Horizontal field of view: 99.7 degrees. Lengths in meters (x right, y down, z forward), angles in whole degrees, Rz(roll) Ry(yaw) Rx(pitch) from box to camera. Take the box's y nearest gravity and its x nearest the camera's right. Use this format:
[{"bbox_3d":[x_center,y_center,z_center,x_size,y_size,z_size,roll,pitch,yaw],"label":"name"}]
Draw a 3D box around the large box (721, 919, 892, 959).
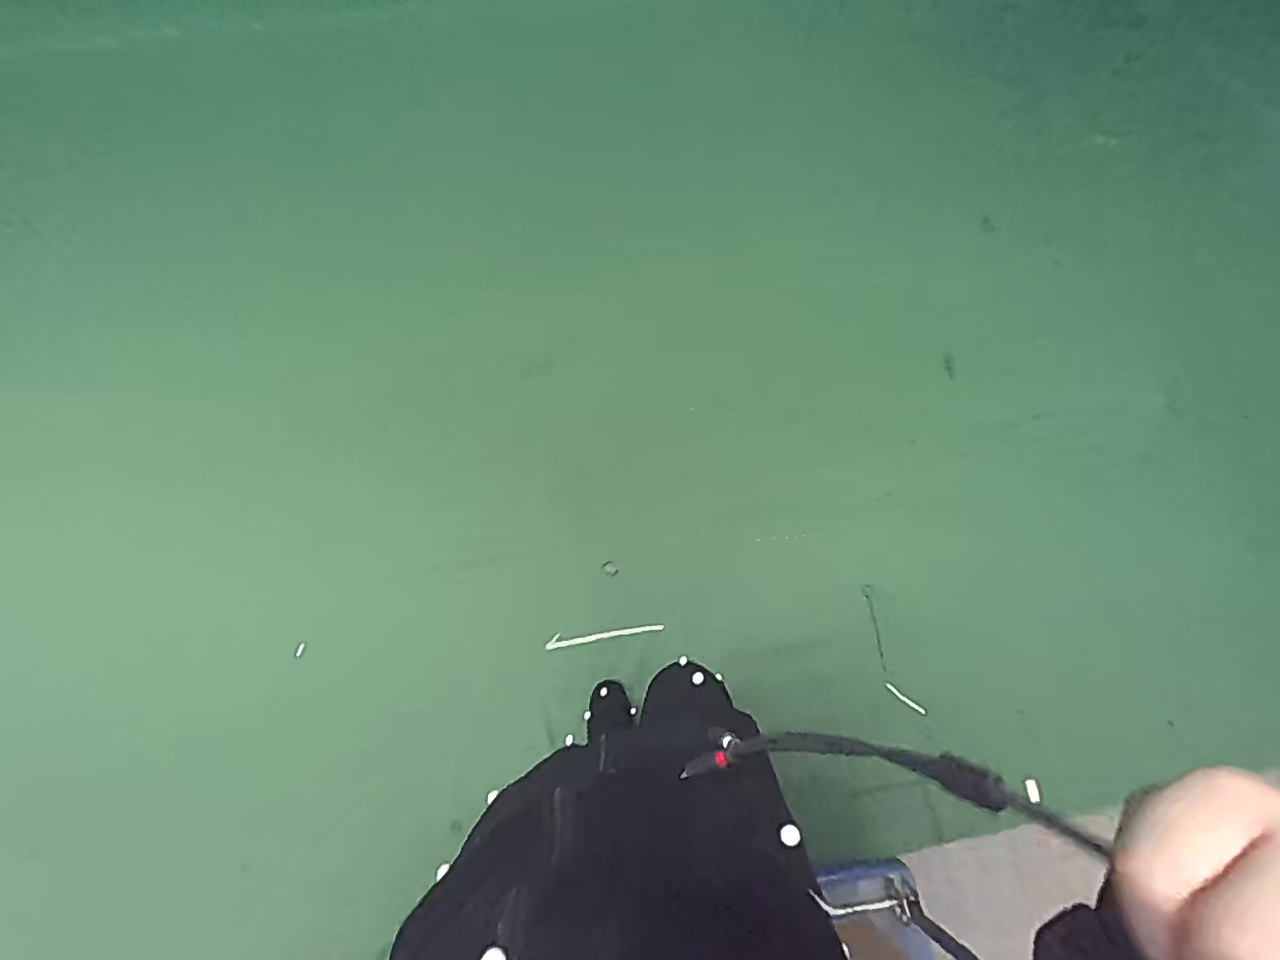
[{"bbox_3d":[0.353,1.096,0.940,0.320,0.320,0.408,-7,74,-5],"label":"large box"}]
